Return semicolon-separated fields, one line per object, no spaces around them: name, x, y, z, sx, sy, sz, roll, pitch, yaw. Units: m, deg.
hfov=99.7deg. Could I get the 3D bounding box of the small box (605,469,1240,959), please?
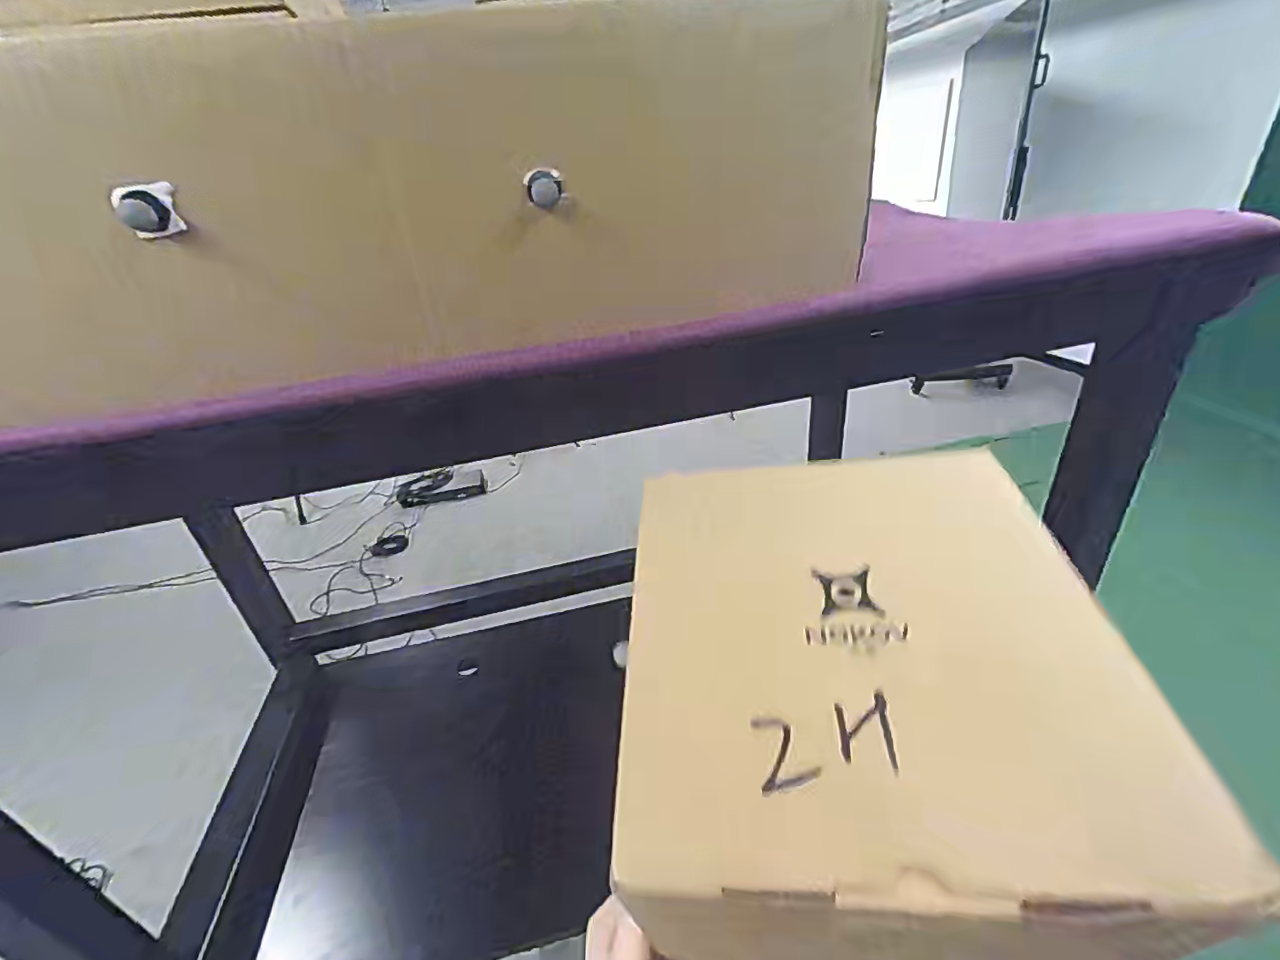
small box;0.089;0.117;0.261;0.168;0.176;0.179;-5;41;10
